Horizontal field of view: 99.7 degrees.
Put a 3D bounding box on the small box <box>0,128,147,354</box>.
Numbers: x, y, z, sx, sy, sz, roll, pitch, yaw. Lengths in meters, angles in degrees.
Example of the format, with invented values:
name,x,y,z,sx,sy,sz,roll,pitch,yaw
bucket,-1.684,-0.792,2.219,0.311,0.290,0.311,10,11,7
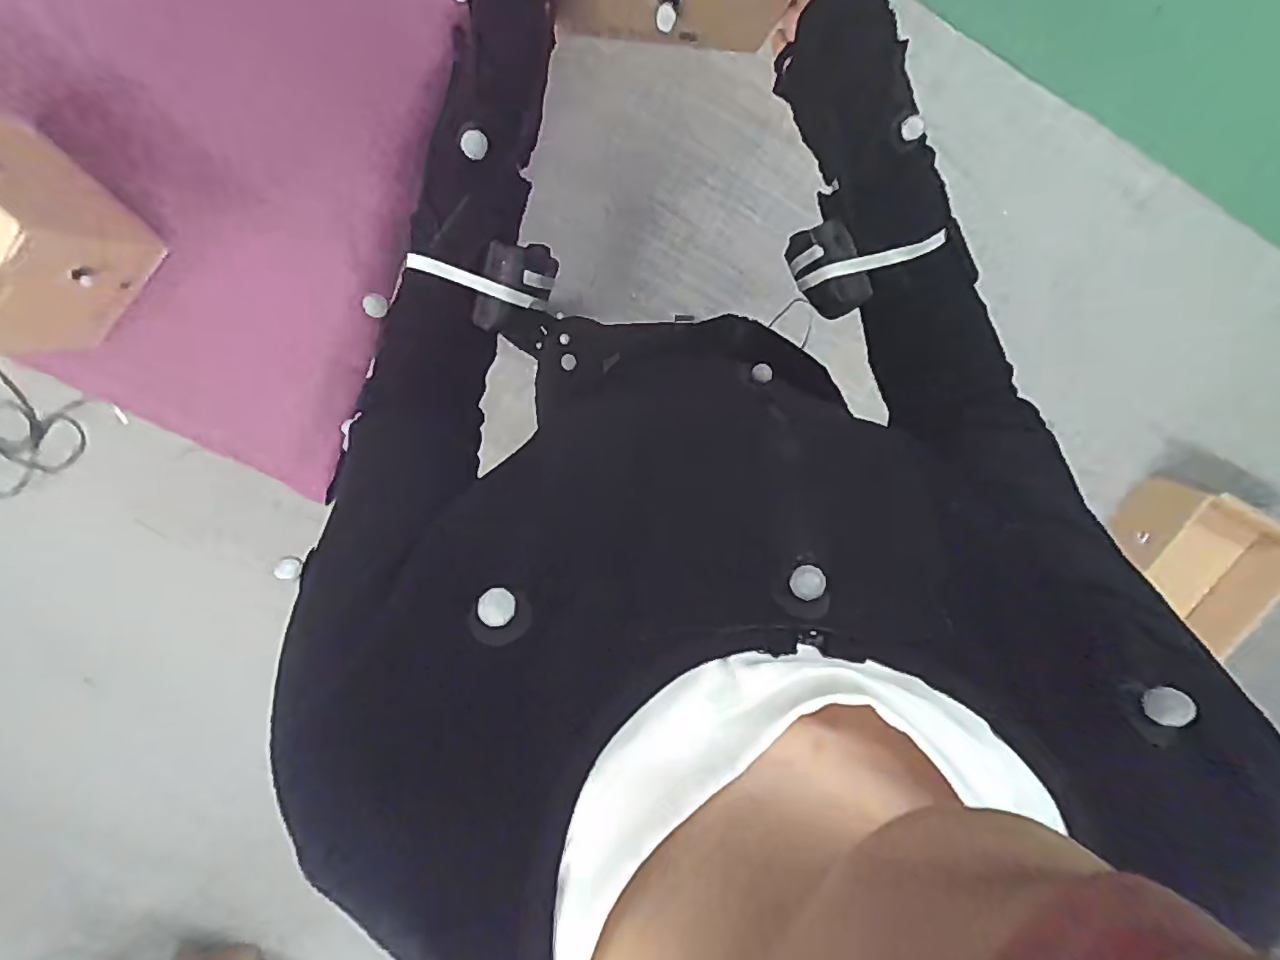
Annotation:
name,x,y,z,sx,sy,sz,roll,pitch,yaw
small box,-0.657,-0.240,0.528,0.168,0.176,0.179,-42,105,11

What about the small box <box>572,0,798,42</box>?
name,x,y,z,sx,sy,sz,roll,pitch,yaw
small box,0.034,-0.399,0.325,0.168,0.176,0.179,0,111,-2
